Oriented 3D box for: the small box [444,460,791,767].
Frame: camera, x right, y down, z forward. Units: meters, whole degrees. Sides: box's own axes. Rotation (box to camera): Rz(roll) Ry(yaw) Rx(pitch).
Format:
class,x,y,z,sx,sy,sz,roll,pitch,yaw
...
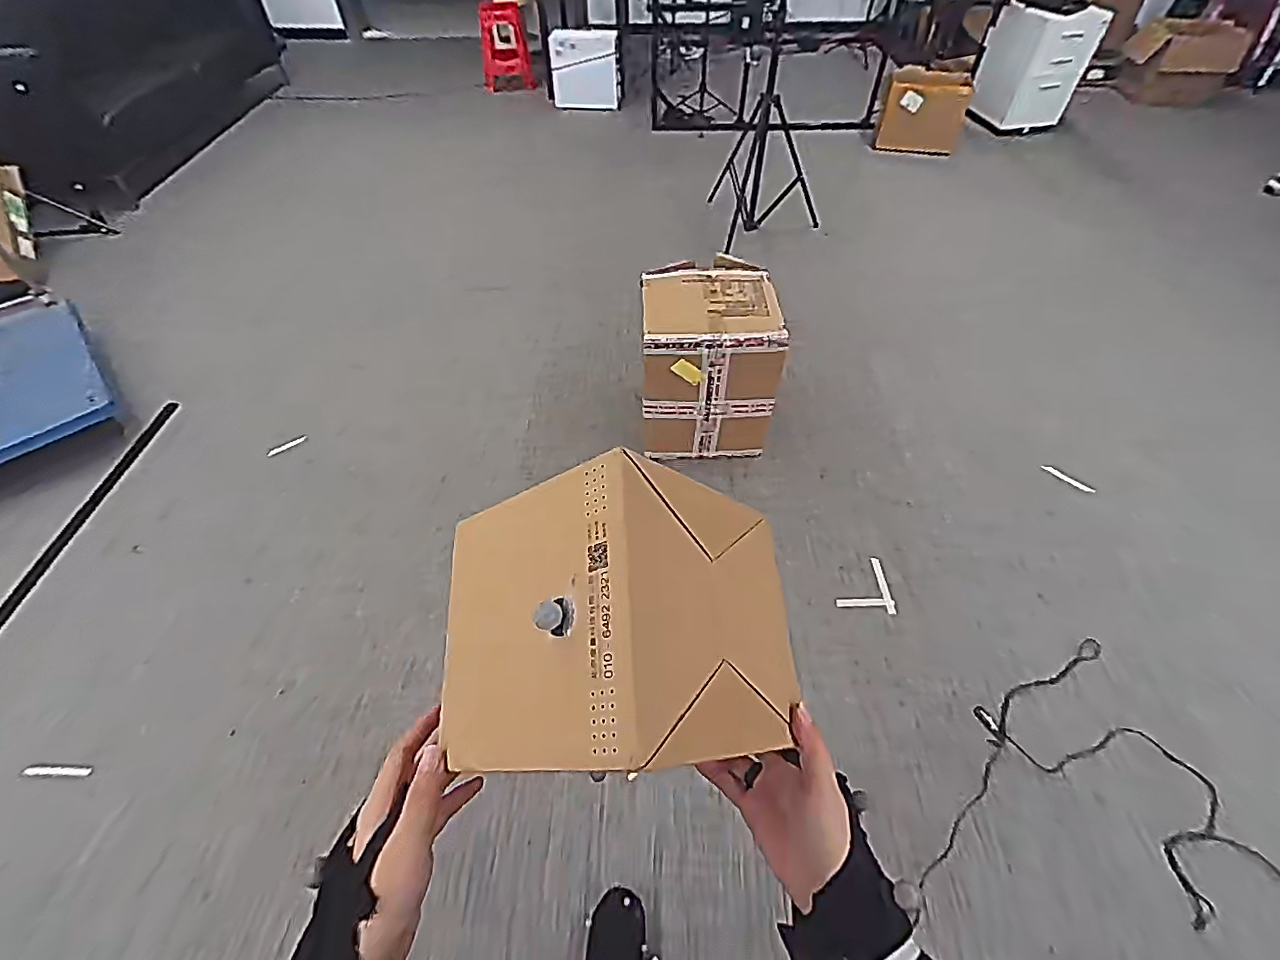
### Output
class,x,y,z,sx,sy,sz,roll,pitch,yaw
small box,-0.012,0.106,0.387,0.176,0.179,0.168,-23,59,34
